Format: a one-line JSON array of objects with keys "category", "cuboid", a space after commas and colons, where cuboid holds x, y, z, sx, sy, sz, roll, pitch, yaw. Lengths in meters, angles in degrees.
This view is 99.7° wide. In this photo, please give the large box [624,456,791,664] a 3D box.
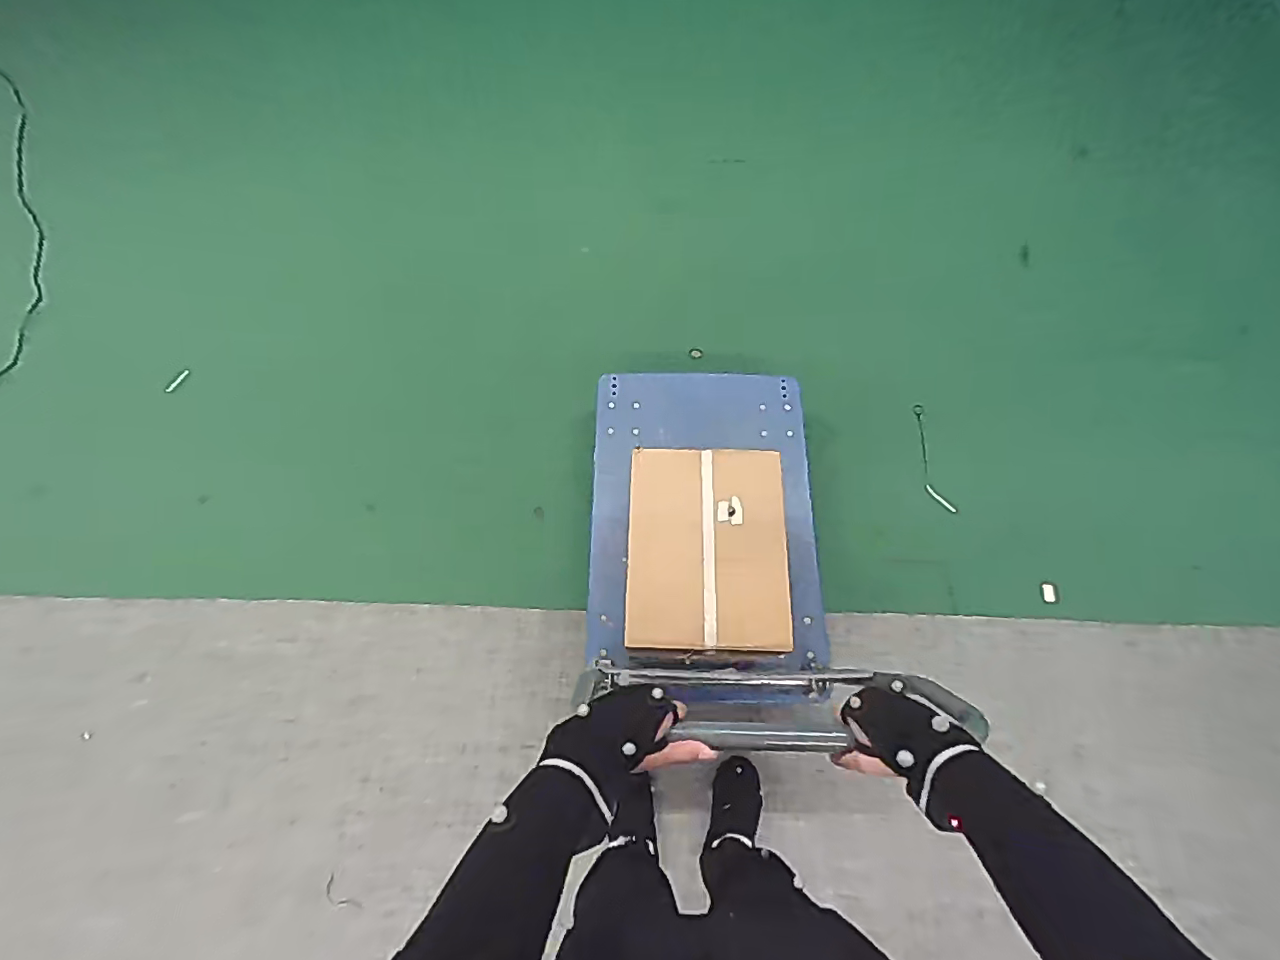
[{"category": "large box", "cuboid": [0.129, 0.193, 1.208, 0.320, 0.320, 0.408, 1, 68, 0]}]
